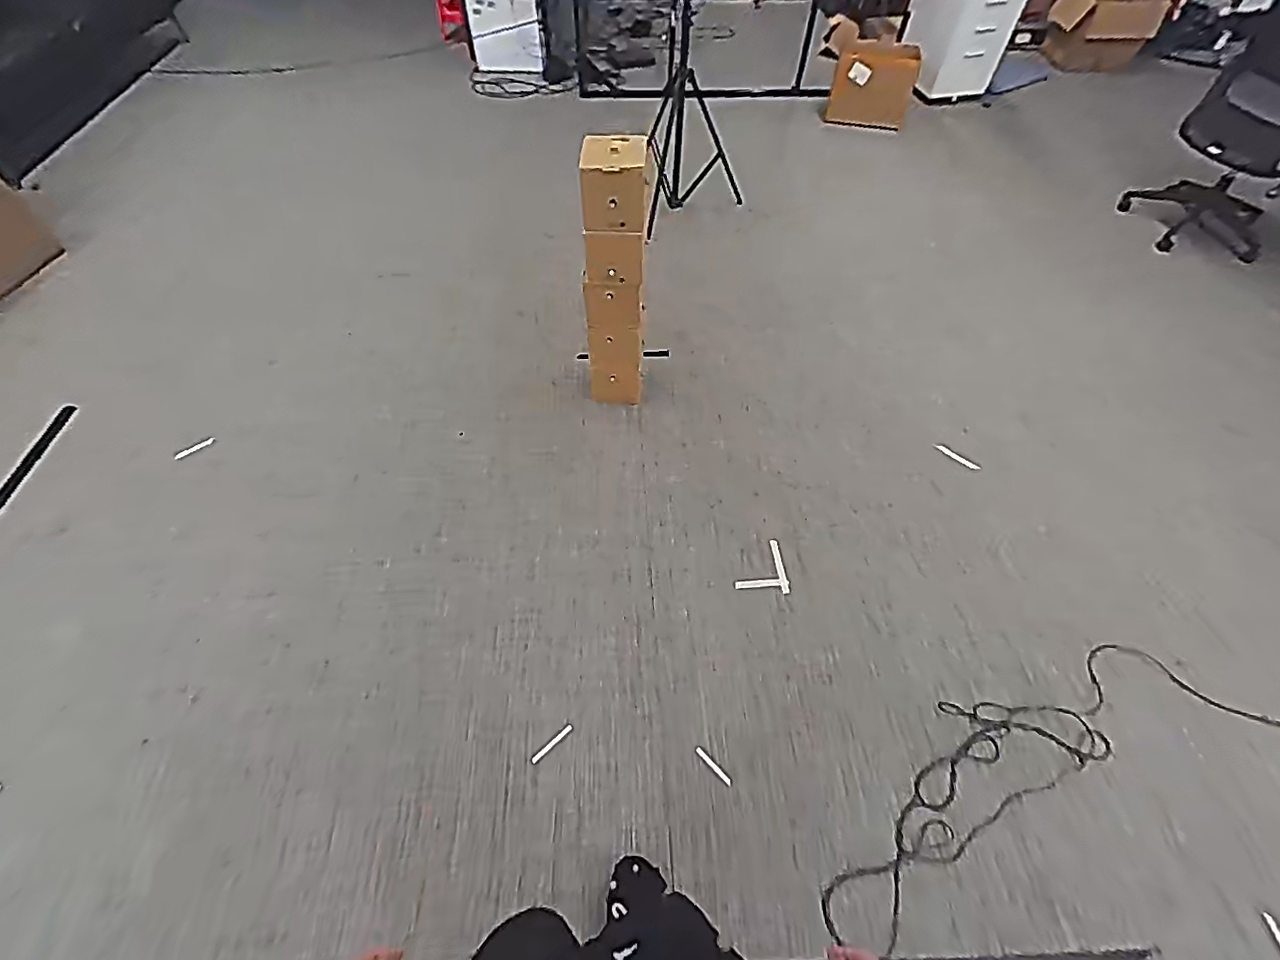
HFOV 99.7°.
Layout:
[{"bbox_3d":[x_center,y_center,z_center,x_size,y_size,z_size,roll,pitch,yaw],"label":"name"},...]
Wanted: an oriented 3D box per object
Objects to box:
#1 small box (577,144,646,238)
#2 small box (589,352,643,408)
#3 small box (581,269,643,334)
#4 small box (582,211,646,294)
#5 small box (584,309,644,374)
[{"bbox_3d":[-0.071,-0.772,1.453,0.168,0.176,0.179,2,56,2],"label":"small box"},{"bbox_3d":[-0.084,-0.379,1.976,0.179,0.176,0.168,4,55,2],"label":"small box"},{"bbox_3d":[-0.084,-0.580,1.719,0.179,0.176,0.168,4,56,2],"label":"small box"},{"bbox_3d":[-0.071,-0.671,1.582,0.168,0.176,0.179,3,56,3],"label":"small box"},{"bbox_3d":[-0.084,-0.480,1.846,0.179,0.176,0.168,6,56,4],"label":"small box"}]
